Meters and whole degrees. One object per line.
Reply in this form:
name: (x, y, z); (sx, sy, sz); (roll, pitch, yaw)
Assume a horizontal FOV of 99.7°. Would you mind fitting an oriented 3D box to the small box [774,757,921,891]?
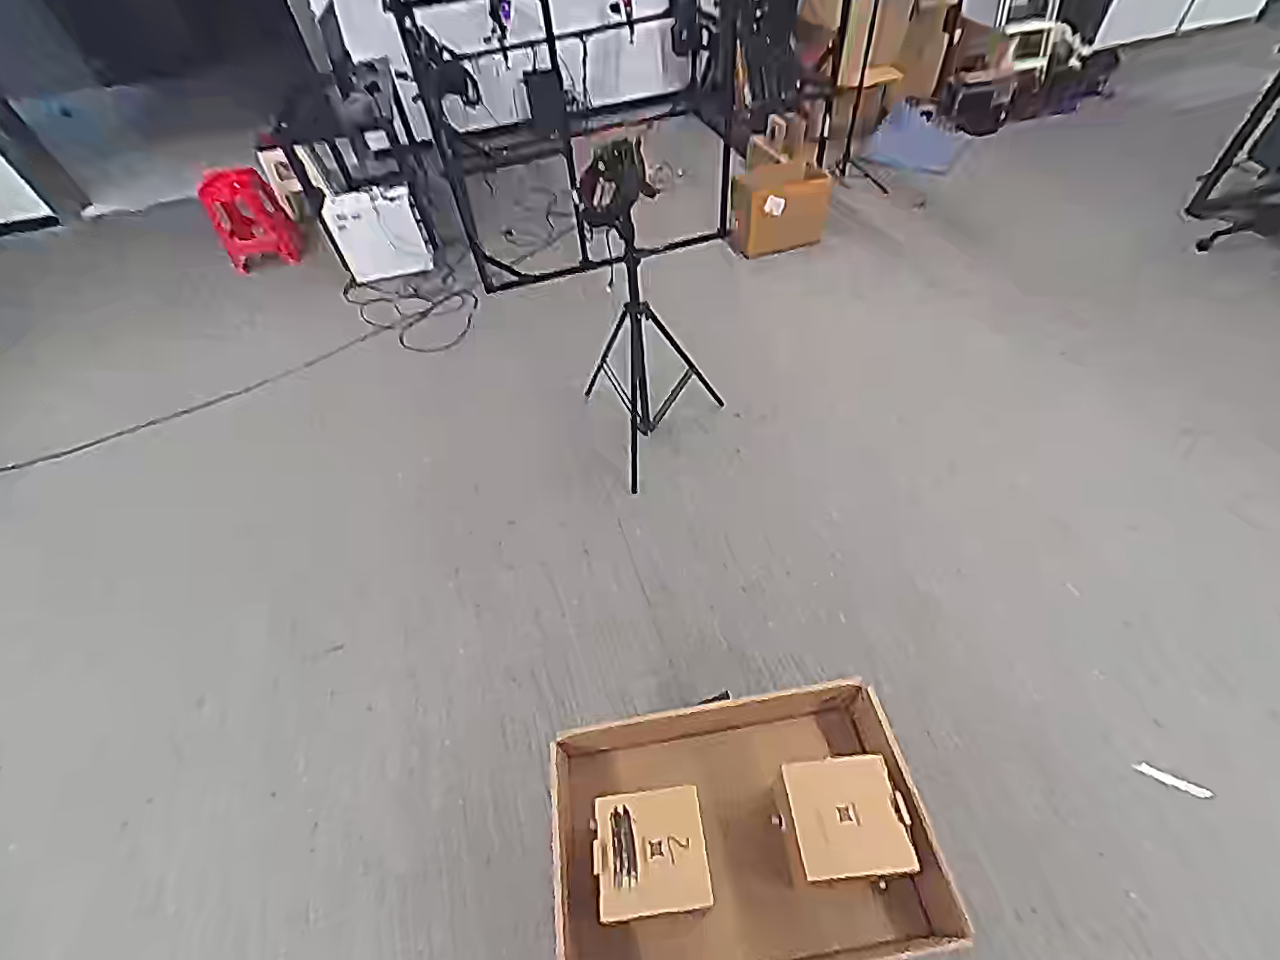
small box: (0.340, 0.590, 0.925); (0.179, 0.176, 0.168); (-7, 48, 1)
